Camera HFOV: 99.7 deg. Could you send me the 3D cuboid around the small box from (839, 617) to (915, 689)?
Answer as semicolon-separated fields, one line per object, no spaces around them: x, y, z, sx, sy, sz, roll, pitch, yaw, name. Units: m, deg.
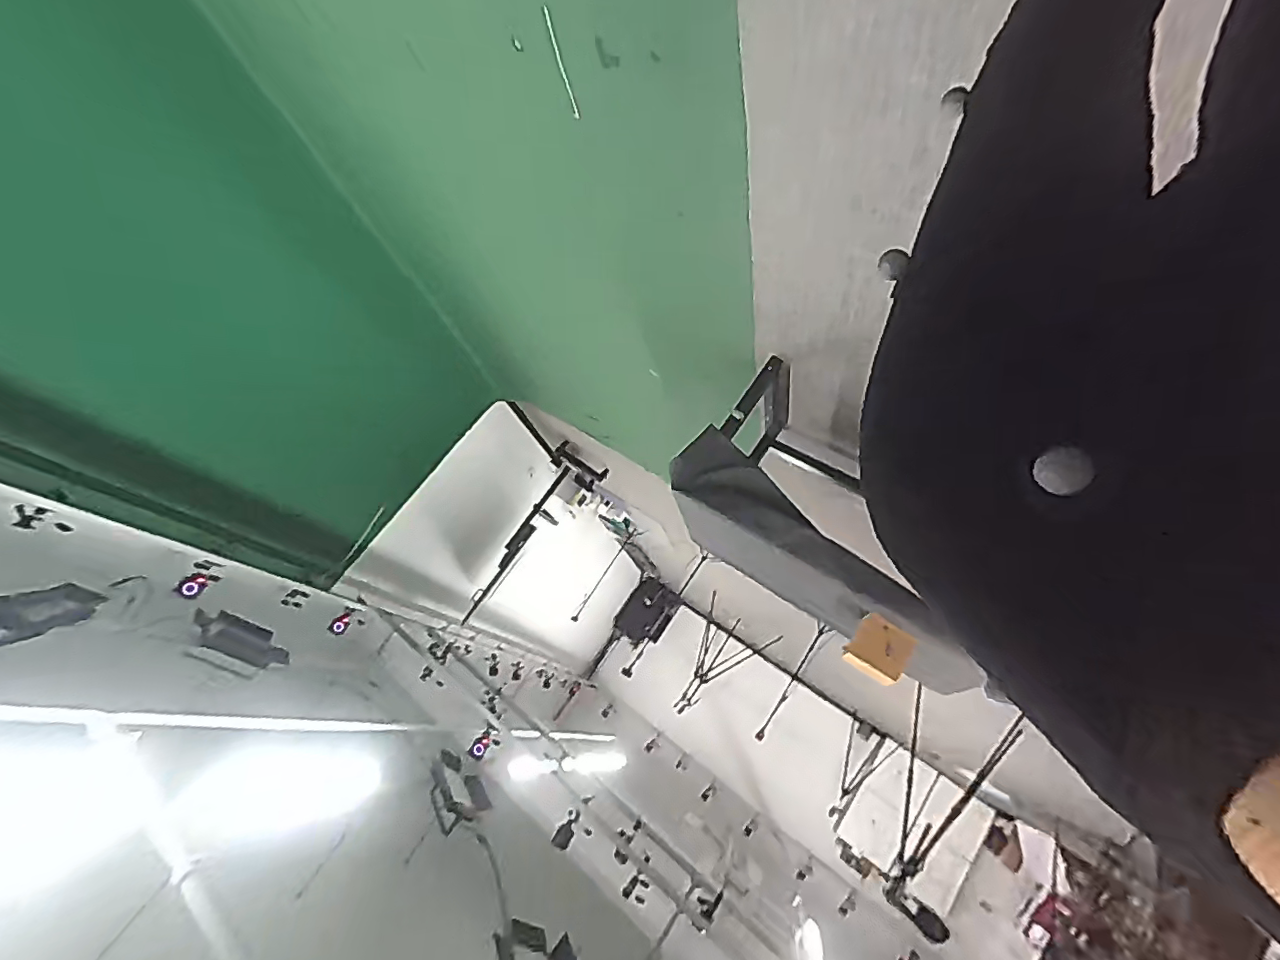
0.803;0.583;1.831;0.168;0.176;0.179;31;166;22;small box
